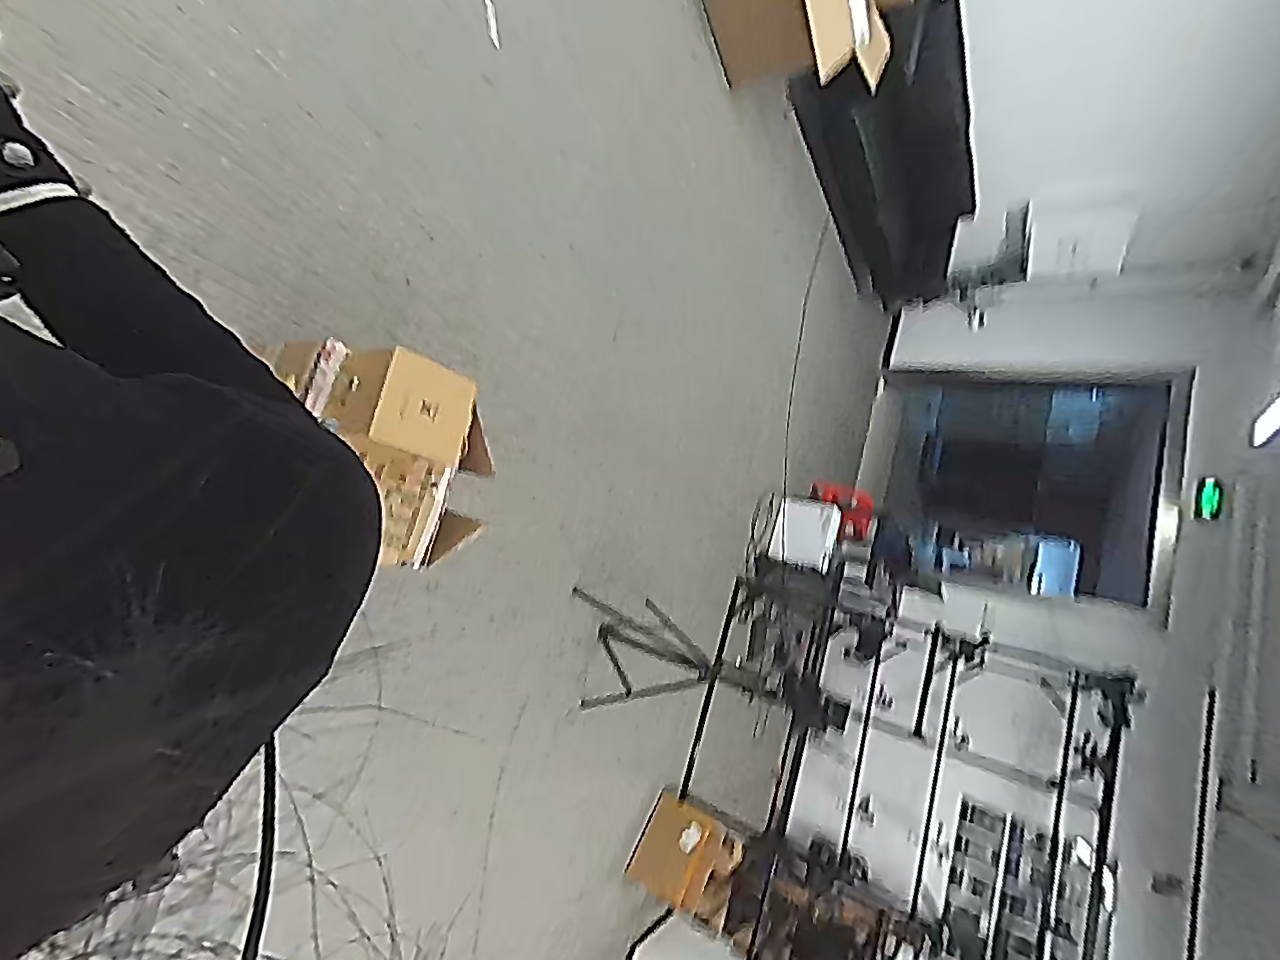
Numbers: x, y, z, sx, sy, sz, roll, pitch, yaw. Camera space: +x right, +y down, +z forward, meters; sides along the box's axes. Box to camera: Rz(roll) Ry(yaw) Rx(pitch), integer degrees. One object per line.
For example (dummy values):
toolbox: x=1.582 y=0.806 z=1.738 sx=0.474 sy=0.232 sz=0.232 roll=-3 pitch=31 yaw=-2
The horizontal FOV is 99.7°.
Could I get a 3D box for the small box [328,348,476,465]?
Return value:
small box: x=-0.450 y=-0.136 z=1.024 sx=0.179 sy=0.176 sz=0.168 roll=23 pitch=77 yaw=-49
